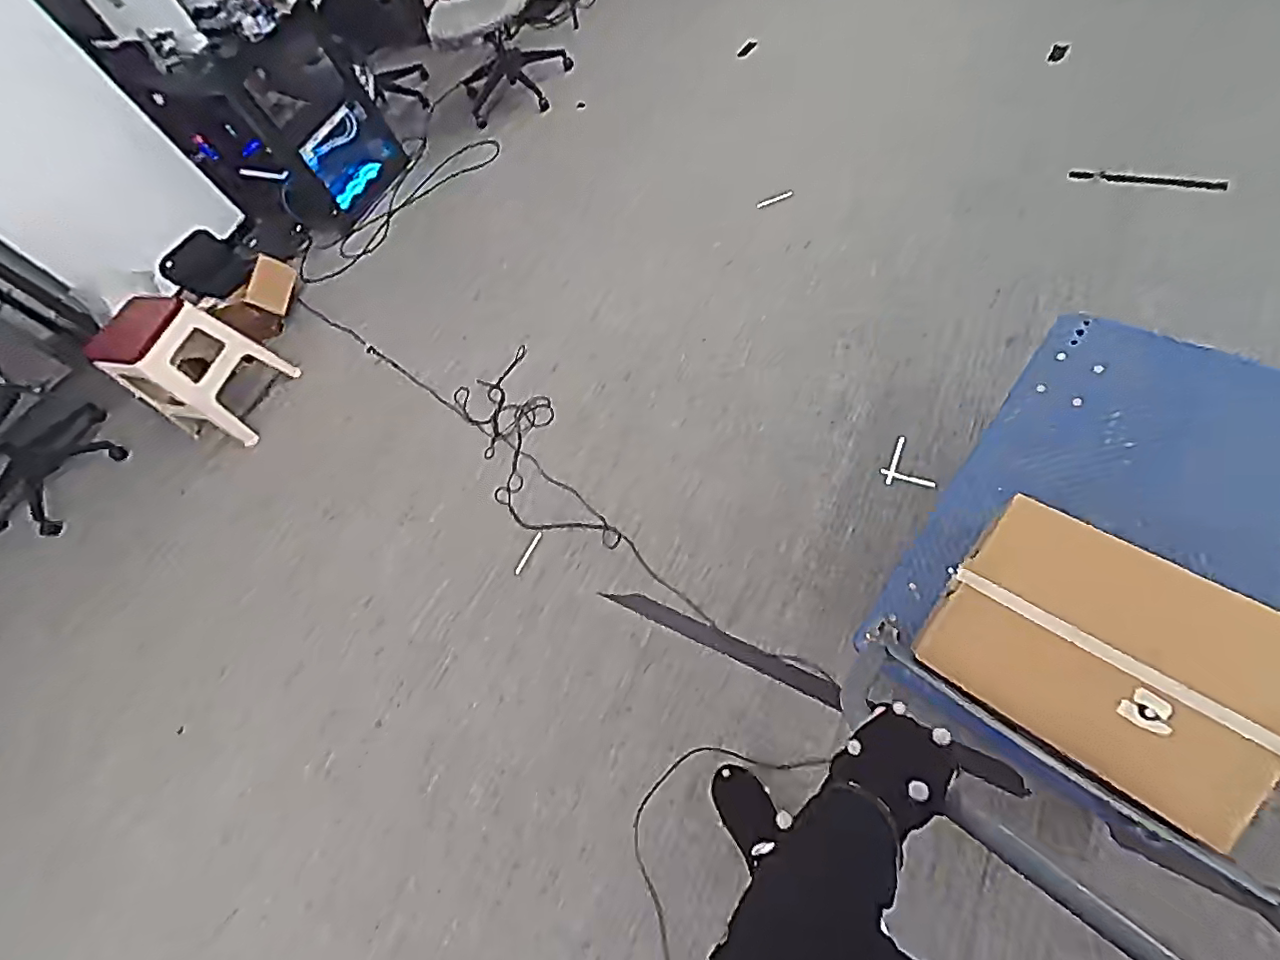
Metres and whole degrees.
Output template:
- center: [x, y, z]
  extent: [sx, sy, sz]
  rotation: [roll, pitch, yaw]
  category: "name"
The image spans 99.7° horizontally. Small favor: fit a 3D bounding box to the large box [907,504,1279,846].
- center: [0.730, 0.290, 0.918]
  extent: [0.408, 0.320, 0.320]
  rotation: [33, 92, 27]
  category: "large box"
